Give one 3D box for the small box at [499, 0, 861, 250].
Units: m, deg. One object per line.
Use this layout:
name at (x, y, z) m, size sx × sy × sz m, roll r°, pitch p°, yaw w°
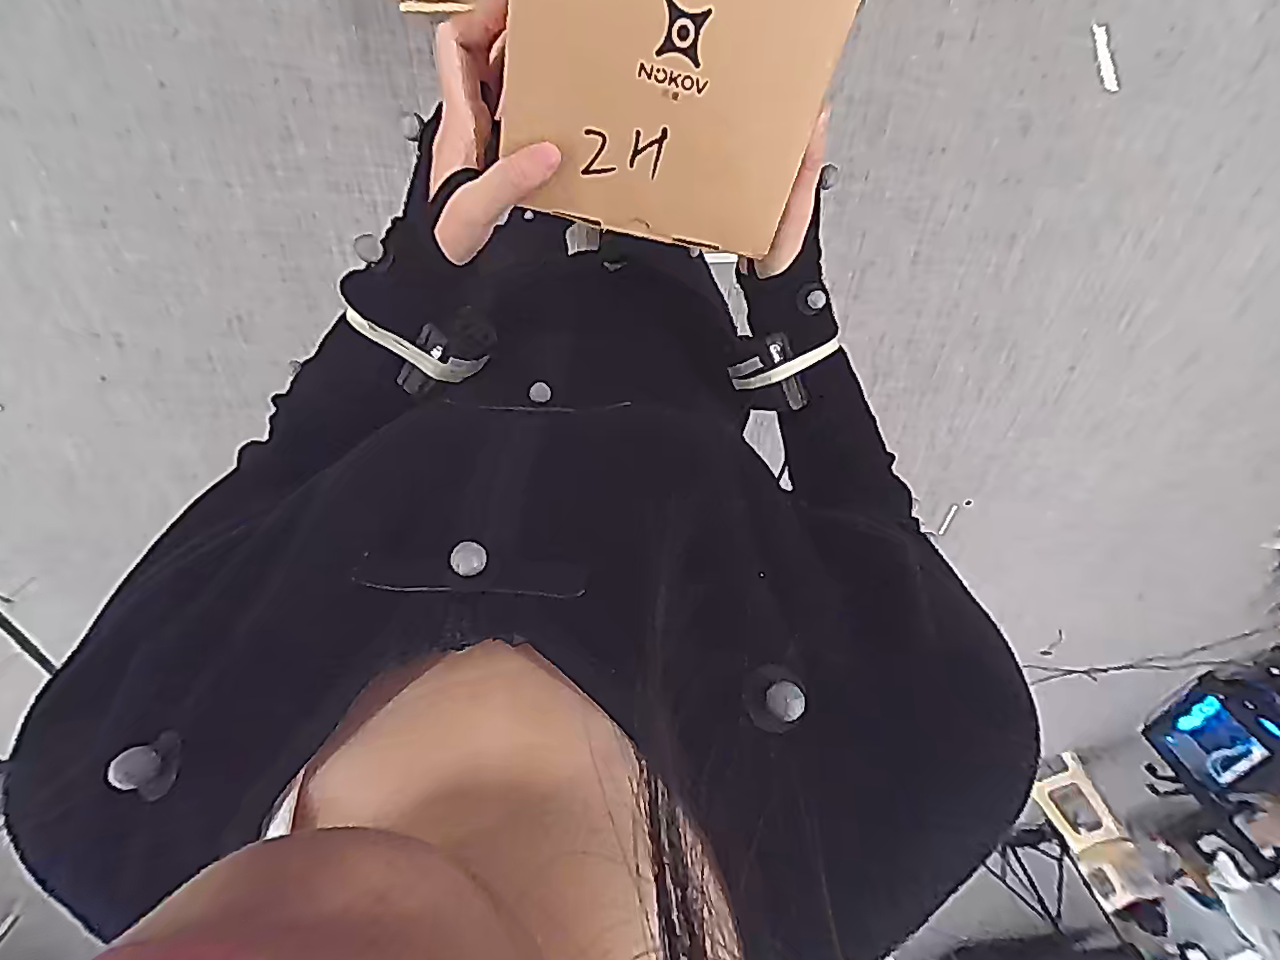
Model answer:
small box at (0.012, -0.269, 0.327) m, size 0.168 × 0.176 × 0.179 m, roll 8°, pitch 129°, yaw -13°
